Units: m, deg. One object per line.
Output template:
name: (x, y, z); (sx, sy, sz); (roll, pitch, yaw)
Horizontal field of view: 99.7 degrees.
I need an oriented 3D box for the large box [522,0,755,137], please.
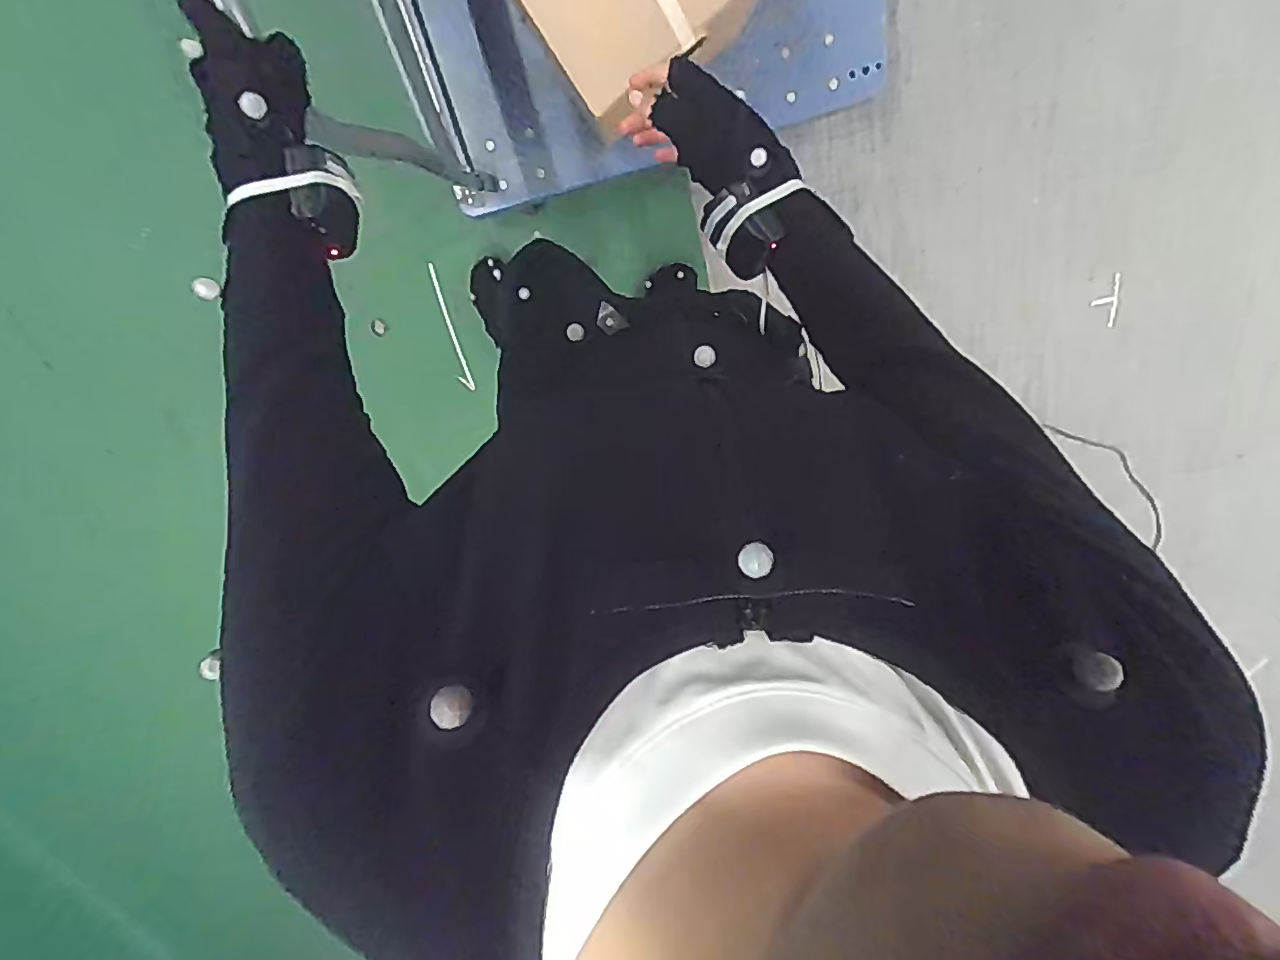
large box: (-0.050, -0.820, 0.808); (0.320, 0.320, 0.408); (-33, 110, 14)
